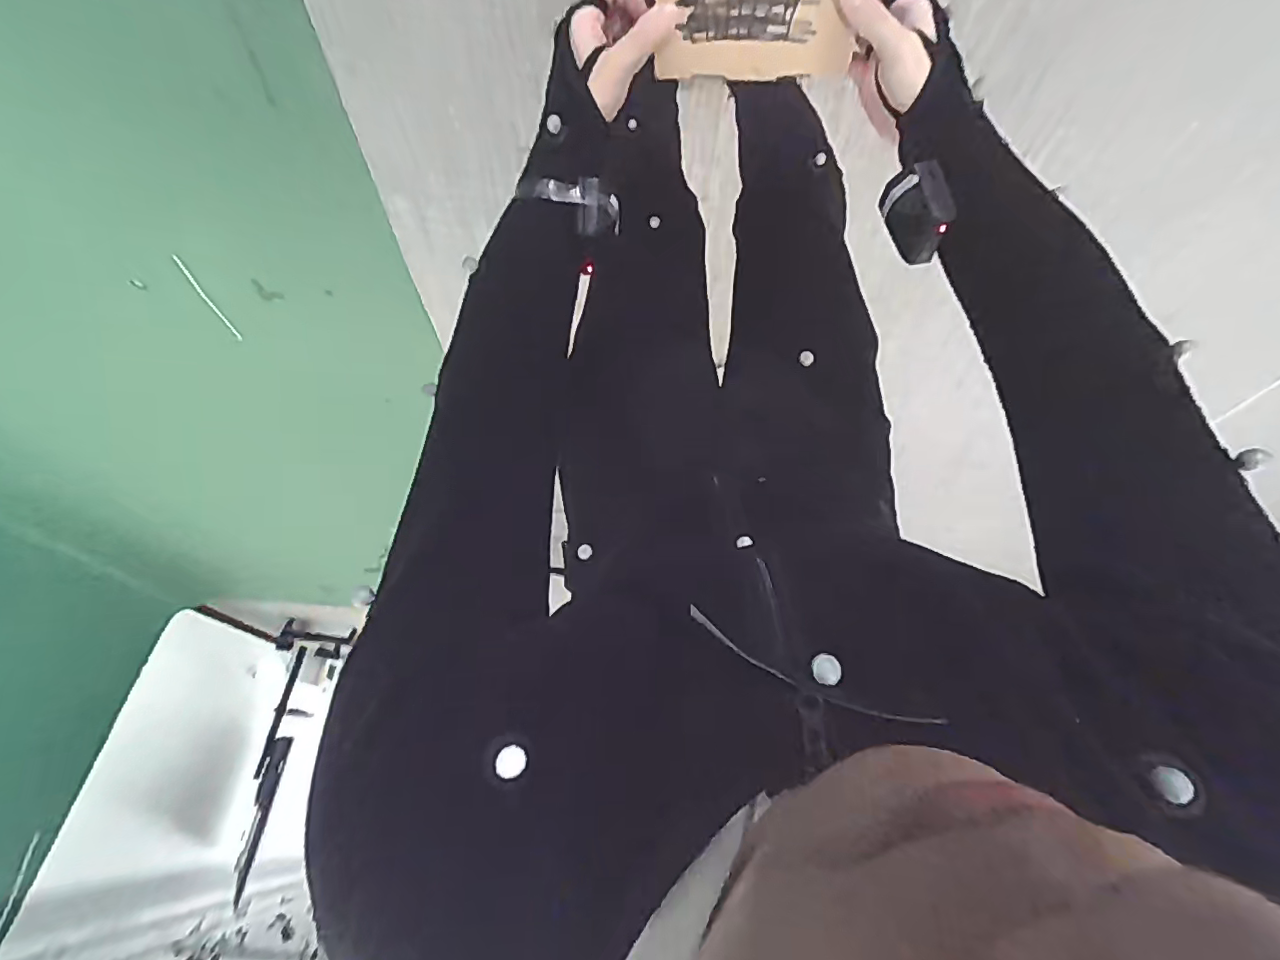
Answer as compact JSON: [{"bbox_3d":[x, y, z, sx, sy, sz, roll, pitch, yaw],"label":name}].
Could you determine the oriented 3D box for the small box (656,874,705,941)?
[{"bbox_3d":[0.151,1.610,2.043,0.179,0.176,0.168,3,150,3],"label":"small box"}]
